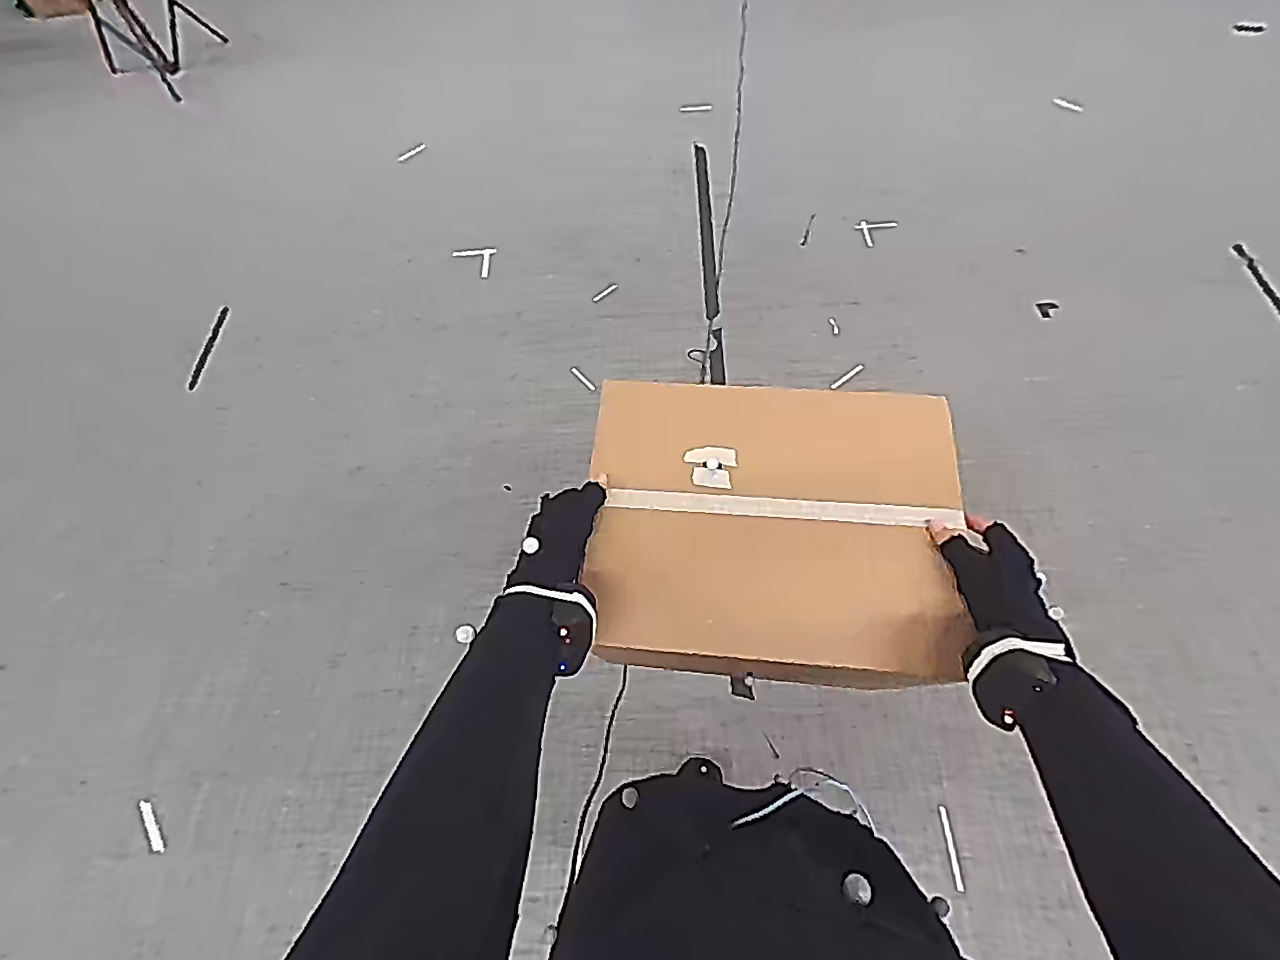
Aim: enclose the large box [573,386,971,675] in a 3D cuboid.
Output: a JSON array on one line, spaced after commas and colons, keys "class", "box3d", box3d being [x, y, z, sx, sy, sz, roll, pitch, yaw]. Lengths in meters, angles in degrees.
[{"class": "large box", "box3d": [0.152, 0.086, 0.737, 0.408, 0.320, 0.320, 3, 67, 7]}]
